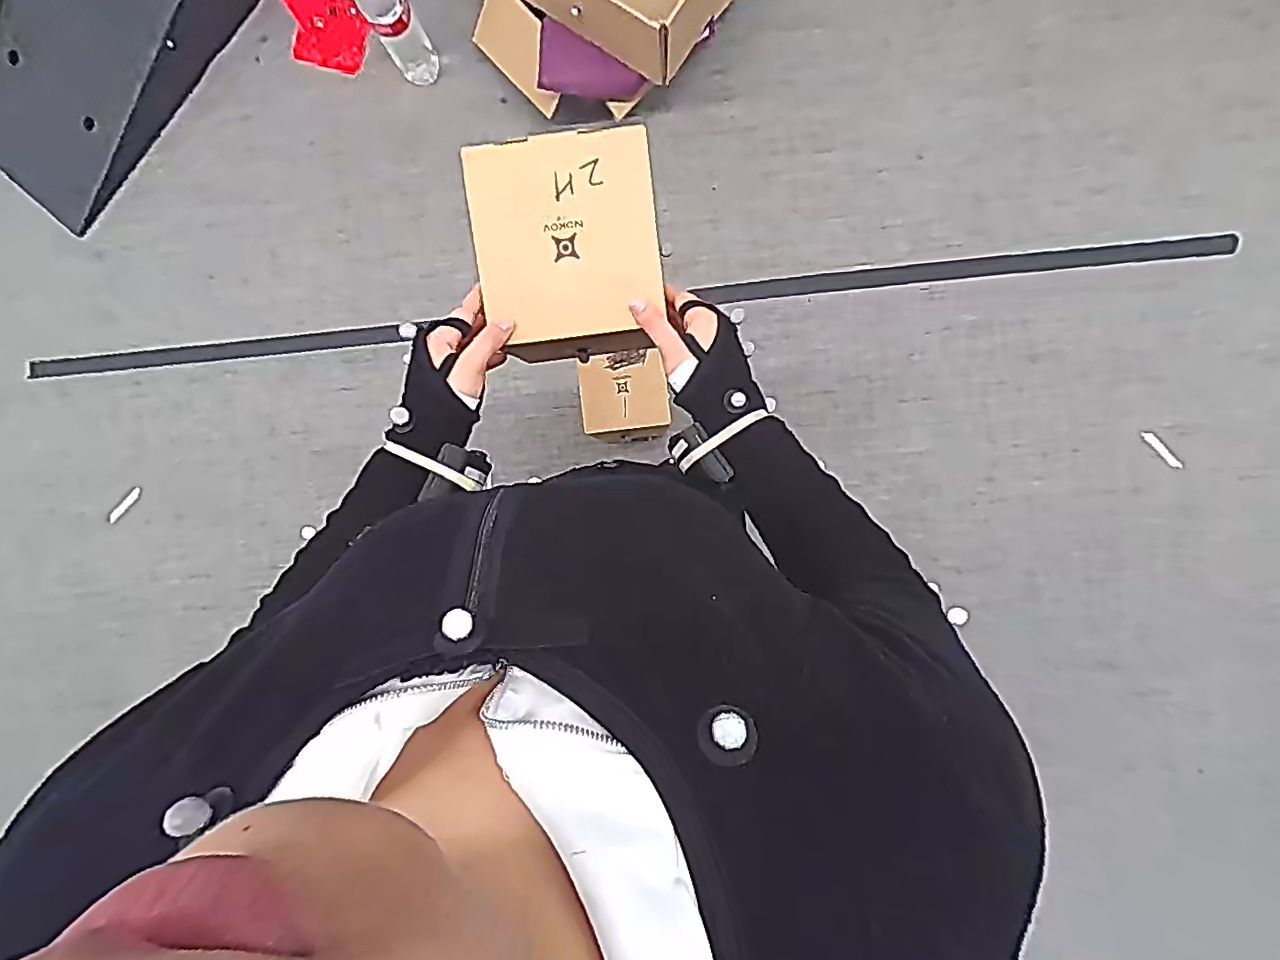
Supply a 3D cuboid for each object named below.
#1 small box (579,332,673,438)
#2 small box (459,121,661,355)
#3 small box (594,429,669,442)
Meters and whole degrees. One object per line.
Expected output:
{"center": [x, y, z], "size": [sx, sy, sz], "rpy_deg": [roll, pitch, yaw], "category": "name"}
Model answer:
{"center": [-0.026, -0.183, 1.085], "size": [0.168, 0.176, 0.179], "rpy_deg": [-6, 92, 3], "category": "small box"}
{"center": [-0.068, -0.228, 0.562], "size": [0.168, 0.176, 0.179], "rpy_deg": [-7, 97, 1], "category": "small box"}
{"center": [-0.023, -0.187, 1.250], "size": [0.168, 0.176, 0.179], "rpy_deg": [-6, 90, 3], "category": "small box"}
